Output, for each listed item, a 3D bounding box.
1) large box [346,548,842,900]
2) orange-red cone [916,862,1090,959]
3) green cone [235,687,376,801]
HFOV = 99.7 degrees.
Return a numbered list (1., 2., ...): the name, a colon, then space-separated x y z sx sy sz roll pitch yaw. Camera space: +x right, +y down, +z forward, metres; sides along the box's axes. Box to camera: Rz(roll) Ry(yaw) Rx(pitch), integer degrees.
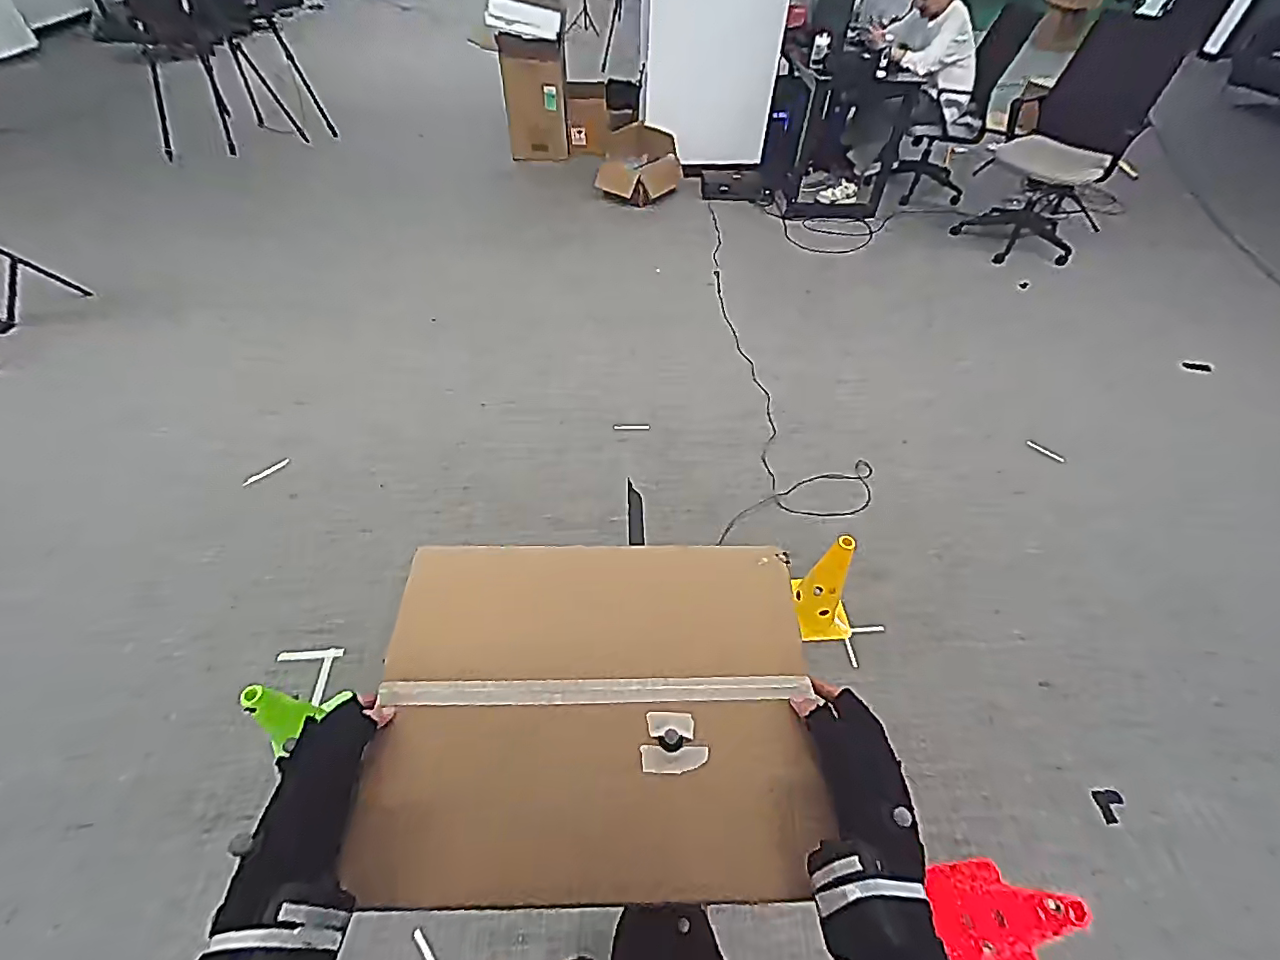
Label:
1. large box: -0.043 0.290 0.634 0.408 0.320 0.320 1 53 -2
2. orange-red cone: 0.714 0.822 1.020 0.198 0.360 0.199 -2 48 -5
3. green cone: -0.785 0.542 1.217 0.202 0.368 0.200 -33 57 -24
